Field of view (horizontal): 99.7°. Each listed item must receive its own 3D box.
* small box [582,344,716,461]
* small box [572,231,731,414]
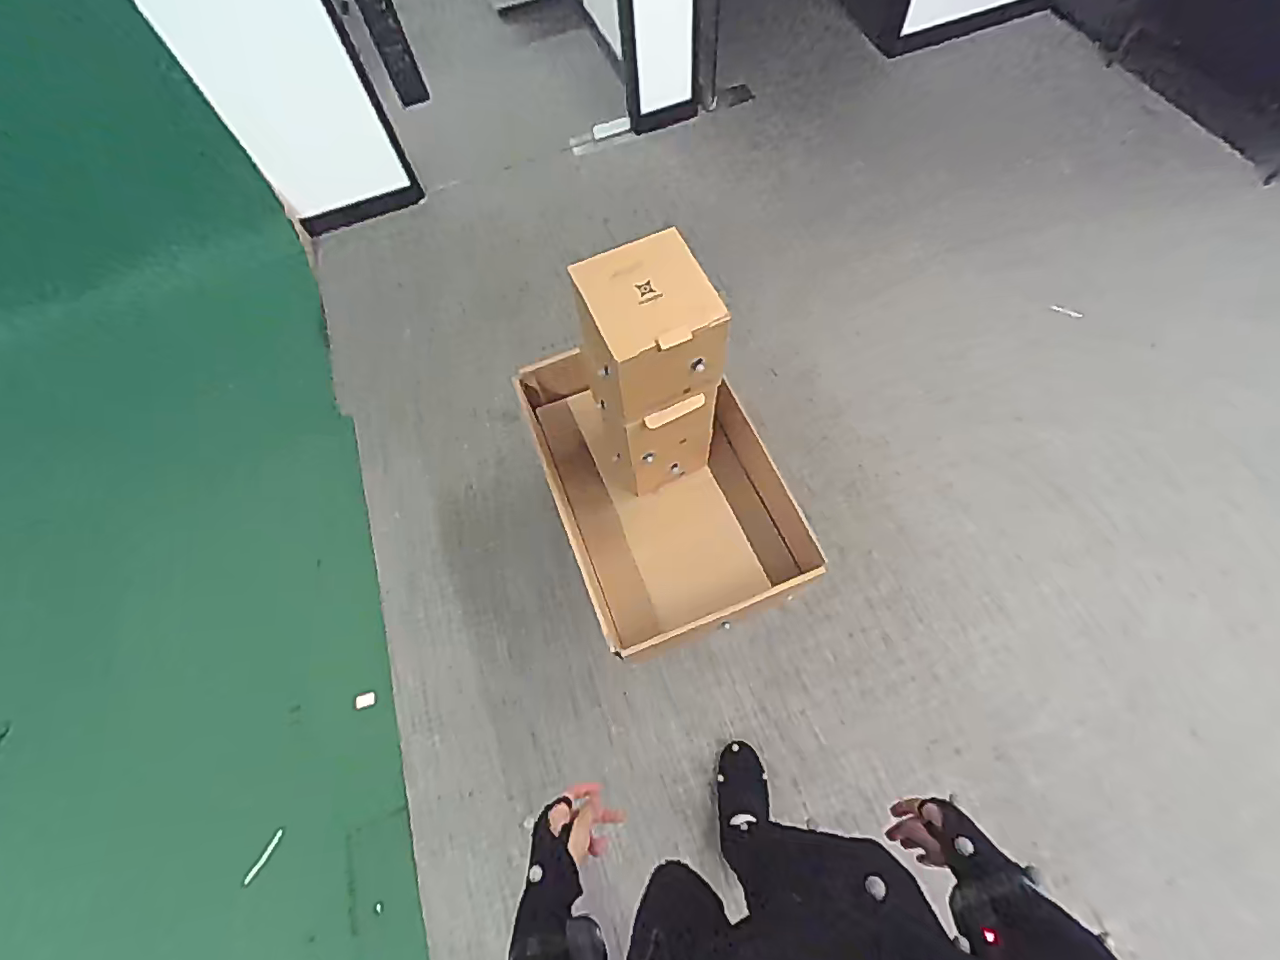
[{"bbox_3d":[0.018,-0.152,0.943,0.168,0.176,0.179,-25,68,-7],"label":"small box"},{"bbox_3d":[0.016,-0.217,0.793,0.168,0.176,0.179,-22,68,-7],"label":"small box"}]
